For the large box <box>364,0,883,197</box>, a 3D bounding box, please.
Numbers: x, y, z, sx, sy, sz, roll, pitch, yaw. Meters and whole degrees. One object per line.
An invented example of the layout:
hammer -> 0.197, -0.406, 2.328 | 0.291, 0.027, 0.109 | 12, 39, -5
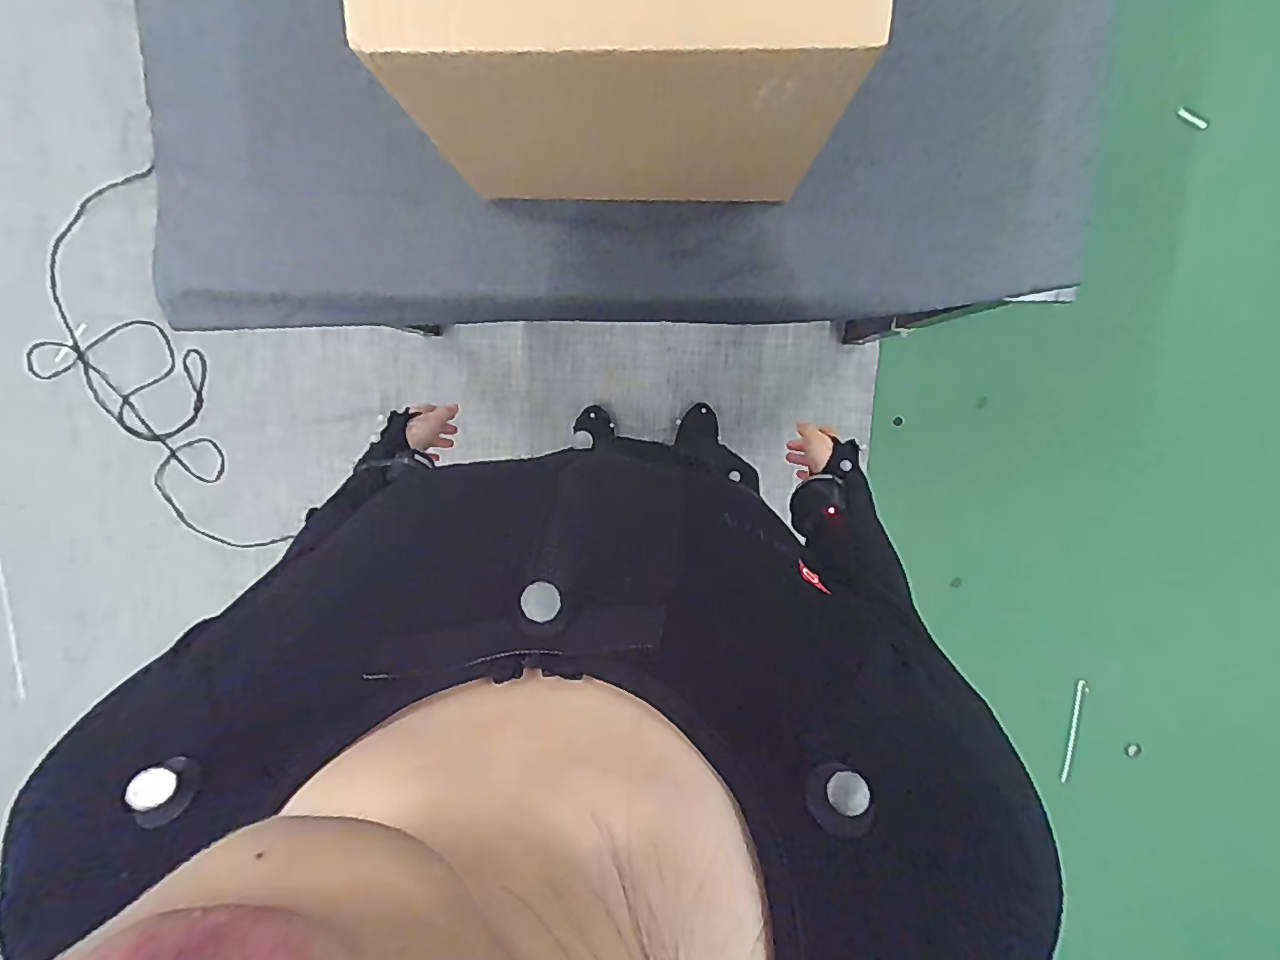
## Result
large box -> -0.012, -0.503, 0.541 | 0.408, 0.320, 0.320 | 1, 99, 2
